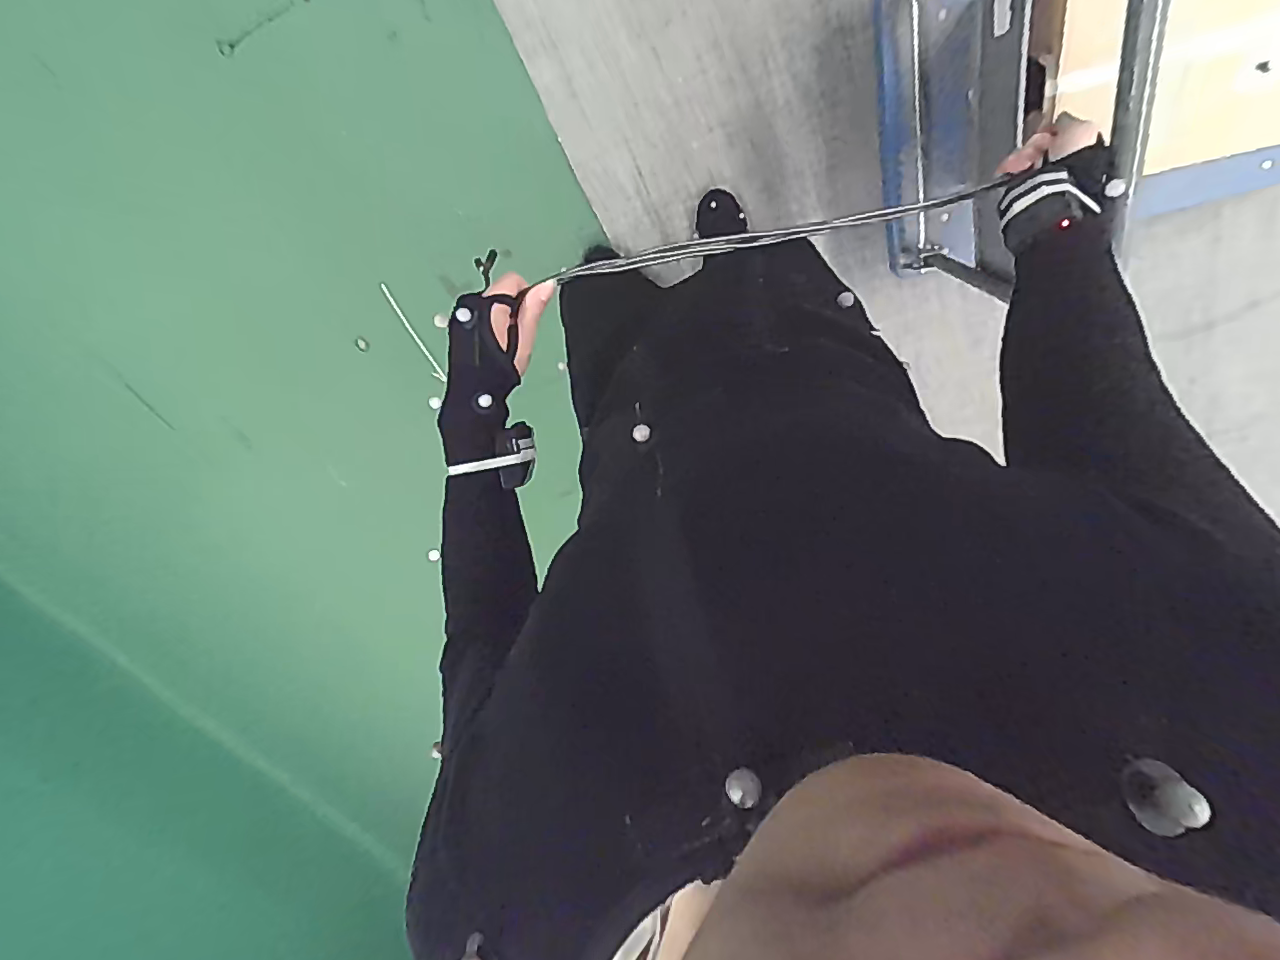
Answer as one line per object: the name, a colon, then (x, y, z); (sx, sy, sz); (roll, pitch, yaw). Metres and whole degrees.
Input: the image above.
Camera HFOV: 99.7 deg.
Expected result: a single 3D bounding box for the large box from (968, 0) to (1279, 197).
large box: (0.812, -0.689, 0.876); (0.408, 0.320, 0.320); (-9, 121, 11)
